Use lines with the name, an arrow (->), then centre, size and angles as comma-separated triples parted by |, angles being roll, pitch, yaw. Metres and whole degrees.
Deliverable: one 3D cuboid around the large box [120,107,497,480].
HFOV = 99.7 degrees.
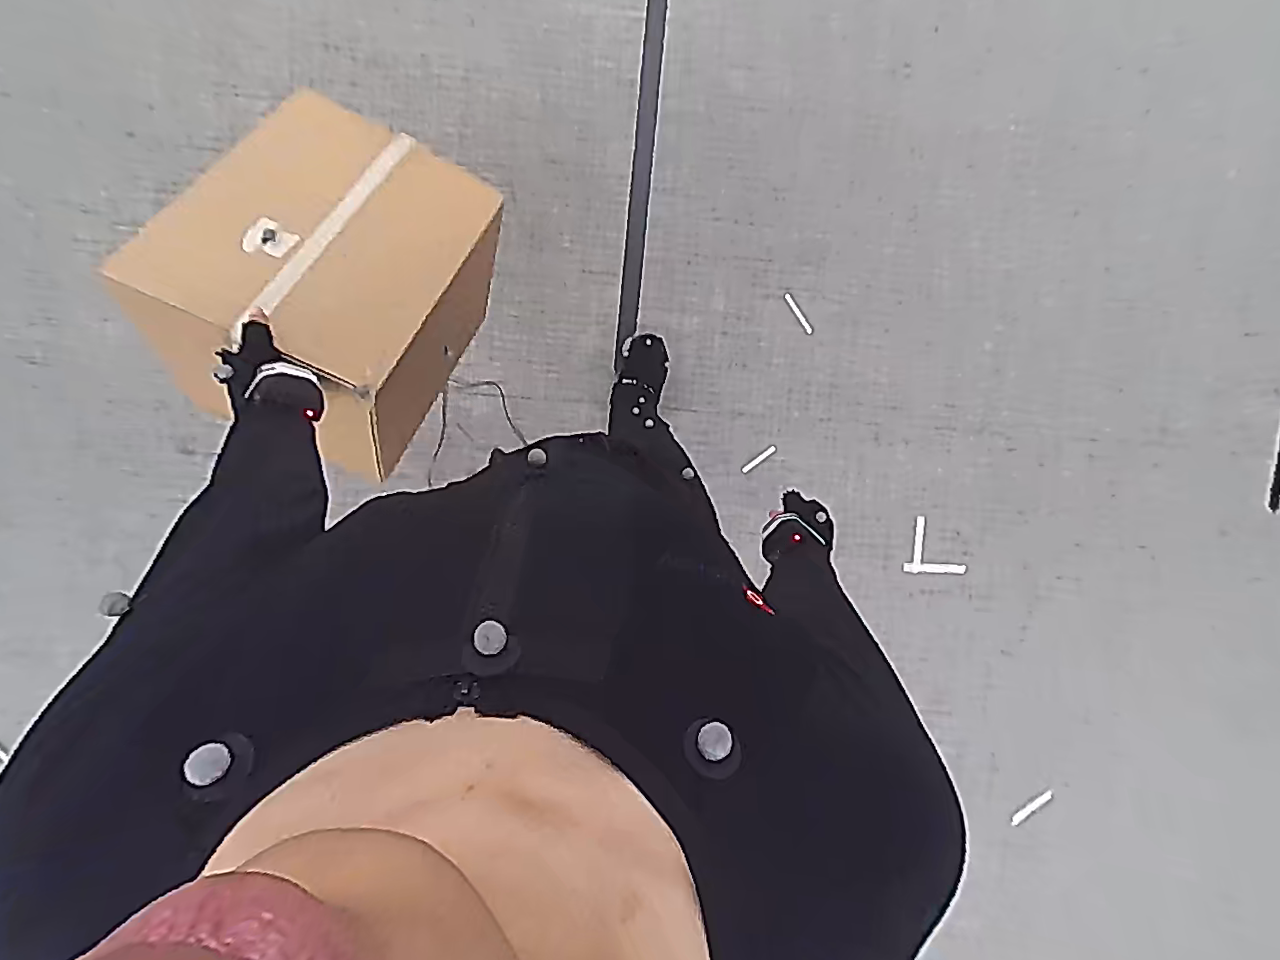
large box -> -0.466, -0.274, 0.868 | 0.320, 0.320, 0.408 | 24, 61, -11
